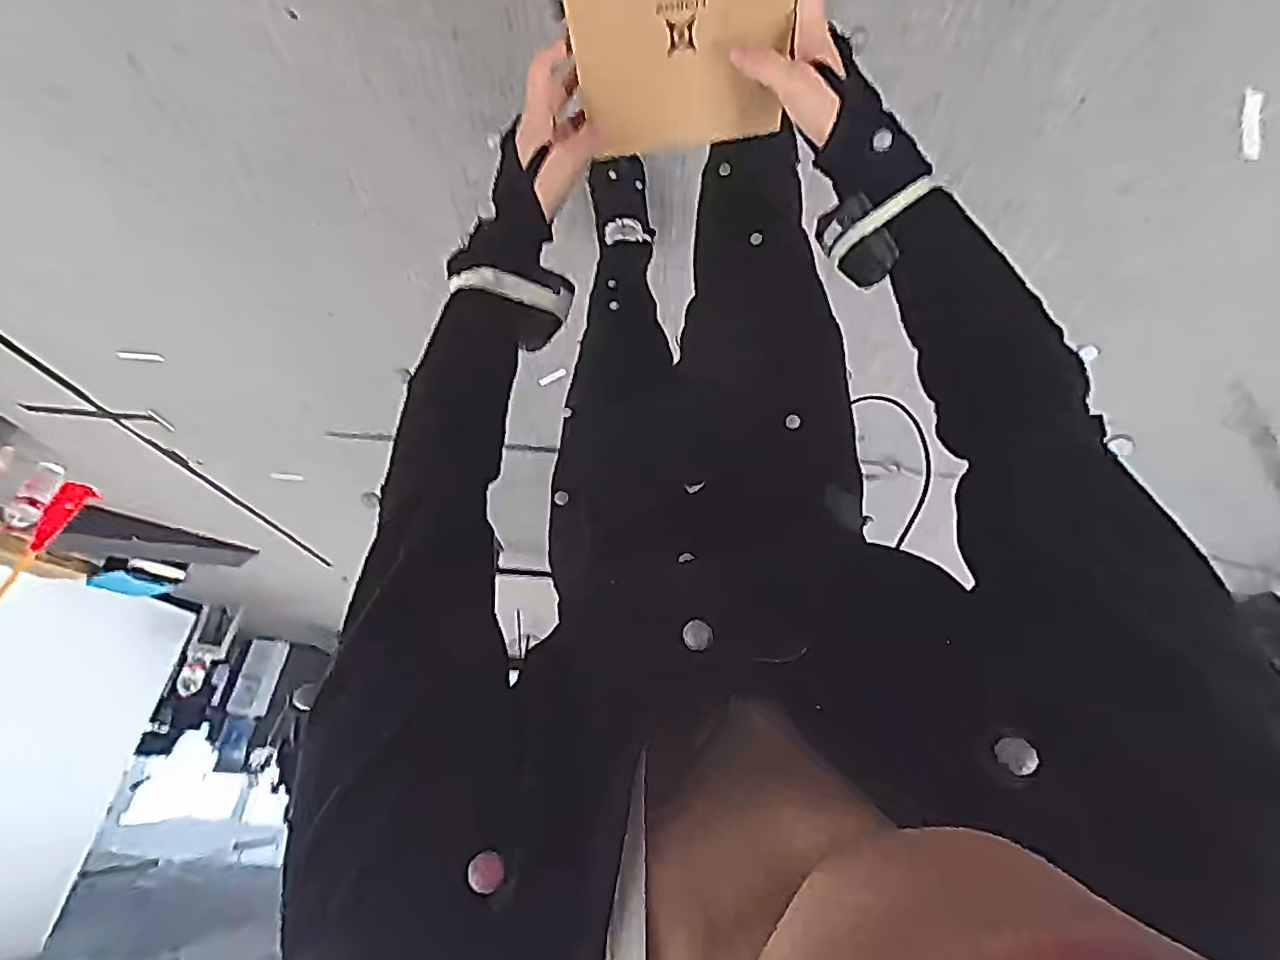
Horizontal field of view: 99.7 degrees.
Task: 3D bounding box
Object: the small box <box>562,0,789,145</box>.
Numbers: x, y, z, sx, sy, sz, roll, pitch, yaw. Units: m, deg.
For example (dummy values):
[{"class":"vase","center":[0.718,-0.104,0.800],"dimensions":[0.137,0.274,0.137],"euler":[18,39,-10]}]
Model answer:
[{"class":"small box","center":[0.023,-0.411,0.429],"dimensions":[0.168,0.176,0.179],"euler":[-6,154,4]}]
